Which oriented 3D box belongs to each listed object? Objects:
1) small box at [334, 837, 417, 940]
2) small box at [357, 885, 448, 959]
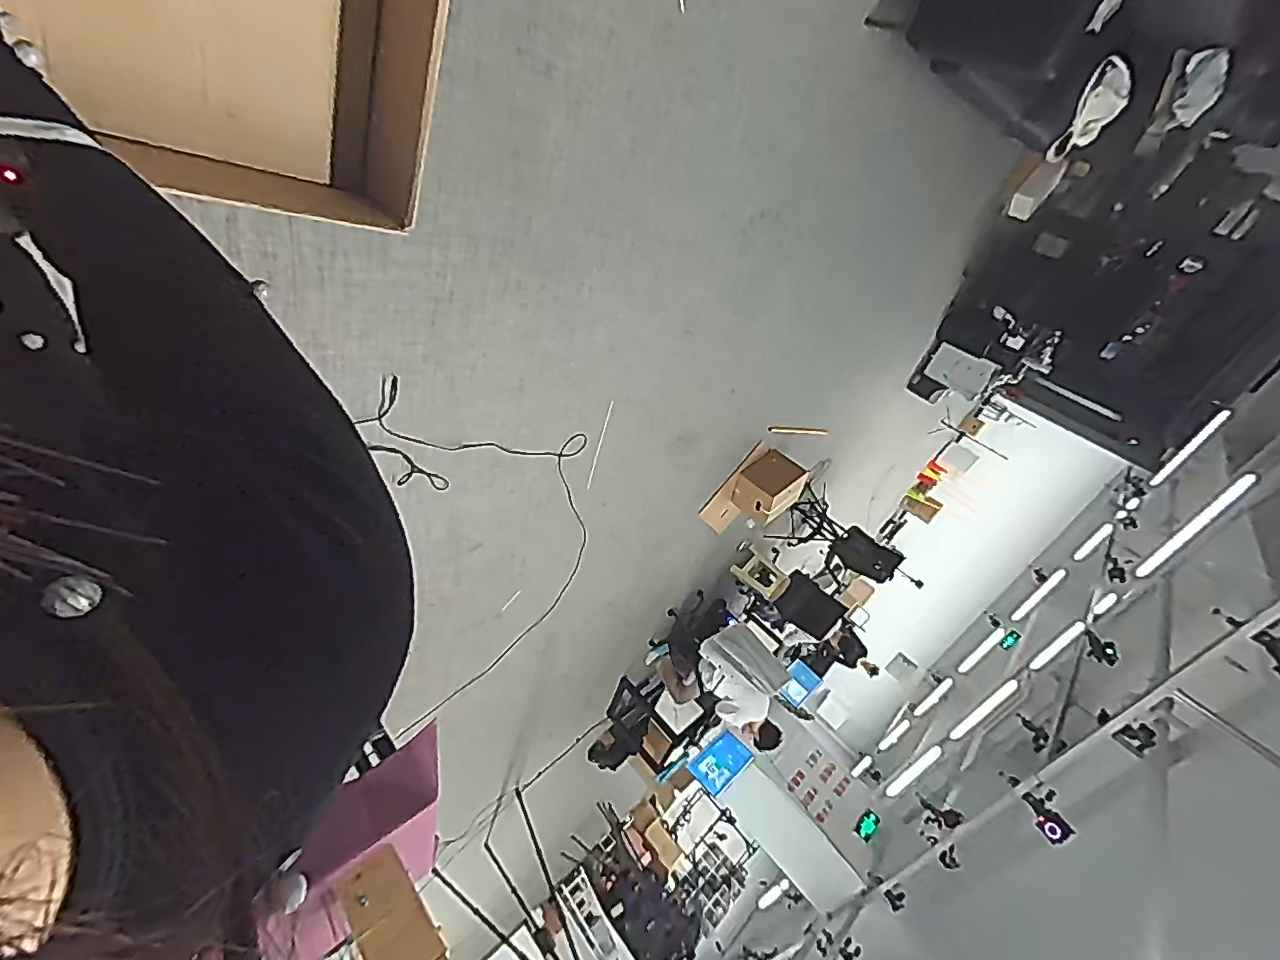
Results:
[{"bbox_3d":[-0.764,1.181,1.565,0.168,0.176,0.179,-22,143,-40],"label":"small box"},{"bbox_3d":[-0.652,1.274,1.494,0.179,0.176,0.168,-23,143,-38],"label":"small box"}]
